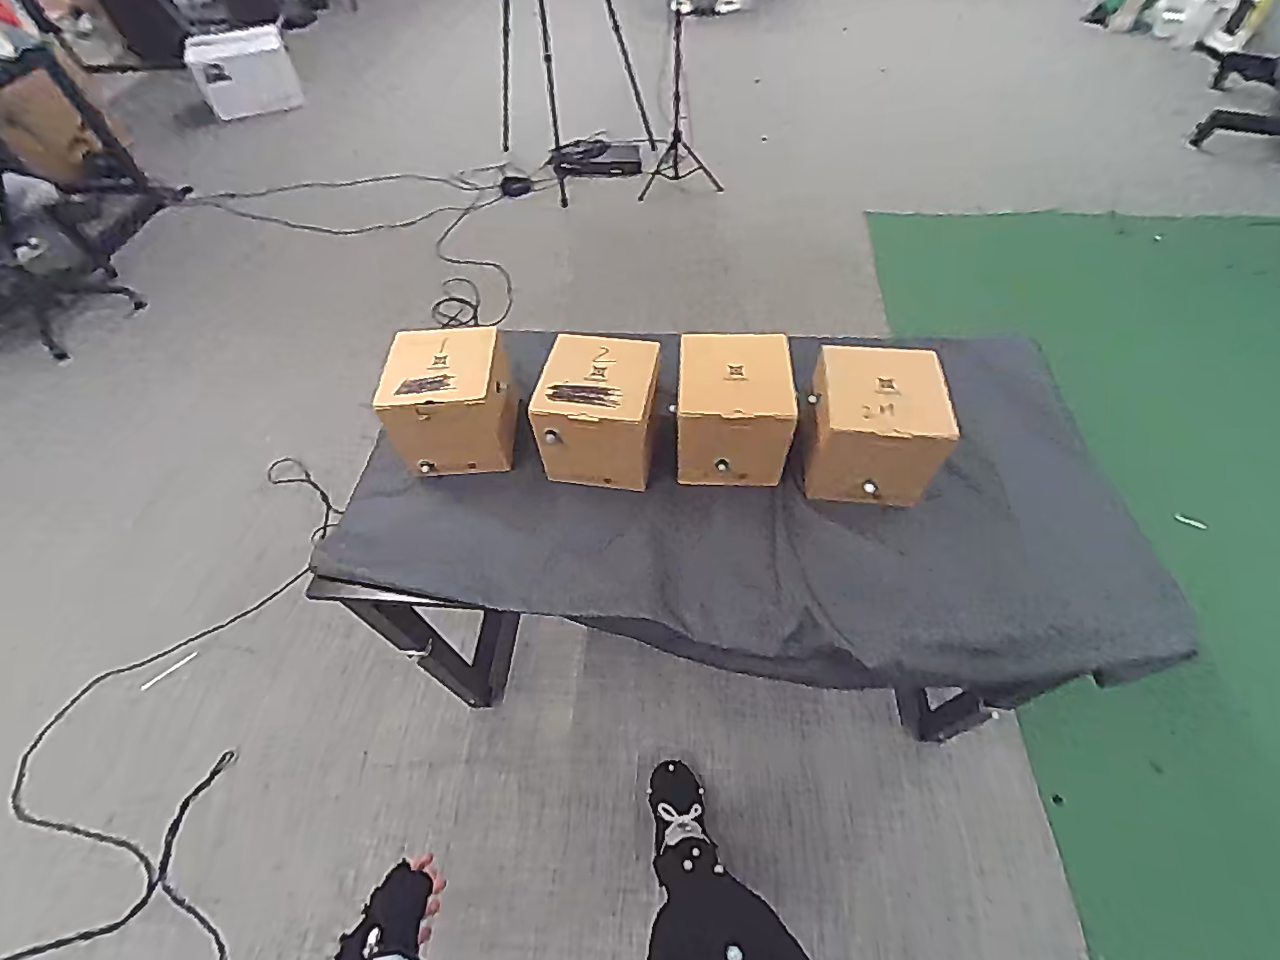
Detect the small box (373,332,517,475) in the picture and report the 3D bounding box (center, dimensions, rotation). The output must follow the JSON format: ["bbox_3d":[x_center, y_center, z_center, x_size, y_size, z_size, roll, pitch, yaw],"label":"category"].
[{"bbox_3d":[-0.306,-0.119,0.893,0.168,0.176,0.179,-4,52,0],"label":"small box"}]
